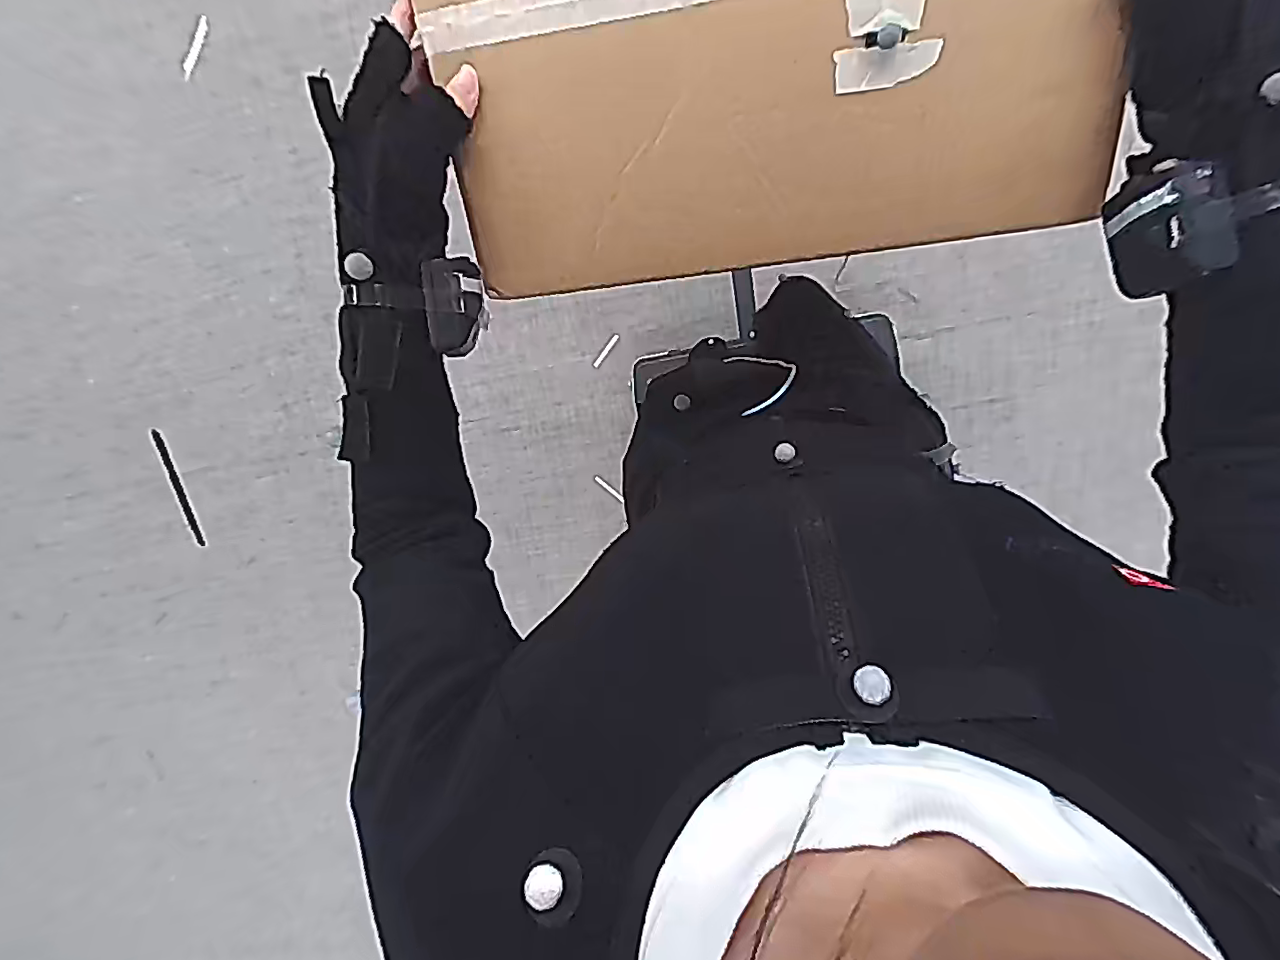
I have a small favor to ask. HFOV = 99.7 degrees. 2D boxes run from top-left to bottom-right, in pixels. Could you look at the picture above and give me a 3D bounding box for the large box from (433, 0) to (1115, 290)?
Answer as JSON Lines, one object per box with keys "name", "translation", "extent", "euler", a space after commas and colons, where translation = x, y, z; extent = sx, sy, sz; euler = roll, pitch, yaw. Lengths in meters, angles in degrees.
{"name": "large box", "translation": [0.079, -0.362, 0.449], "extent": [0.408, 0.320, 0.320], "euler": [-5, 115, 7]}
